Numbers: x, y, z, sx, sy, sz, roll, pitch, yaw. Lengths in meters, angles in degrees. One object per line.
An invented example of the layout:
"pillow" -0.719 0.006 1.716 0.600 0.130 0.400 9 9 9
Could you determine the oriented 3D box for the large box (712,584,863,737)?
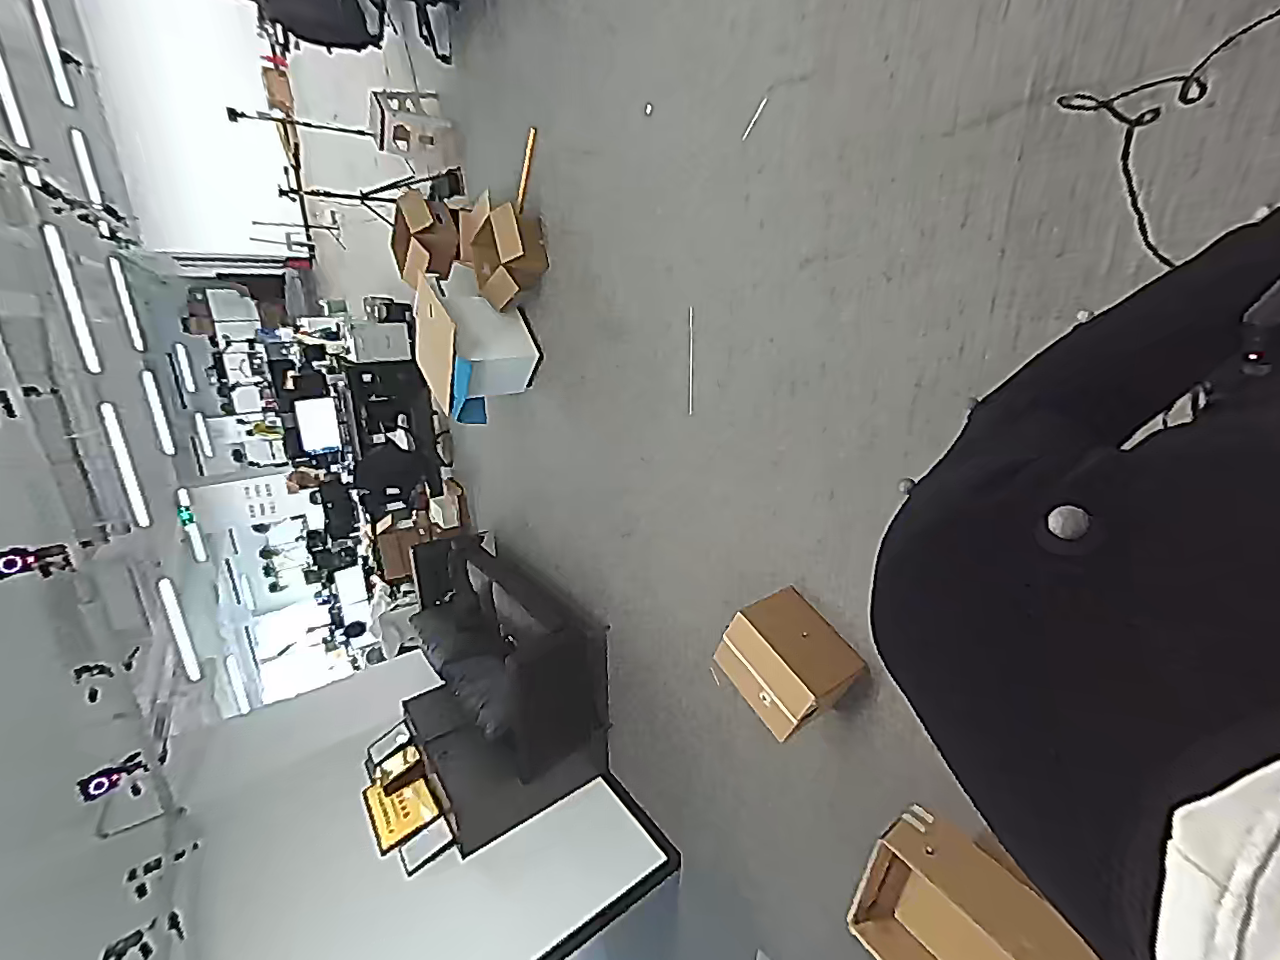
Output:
"large box" 0.556 0.677 2.085 0.408 0.320 0.320 46 136 34
